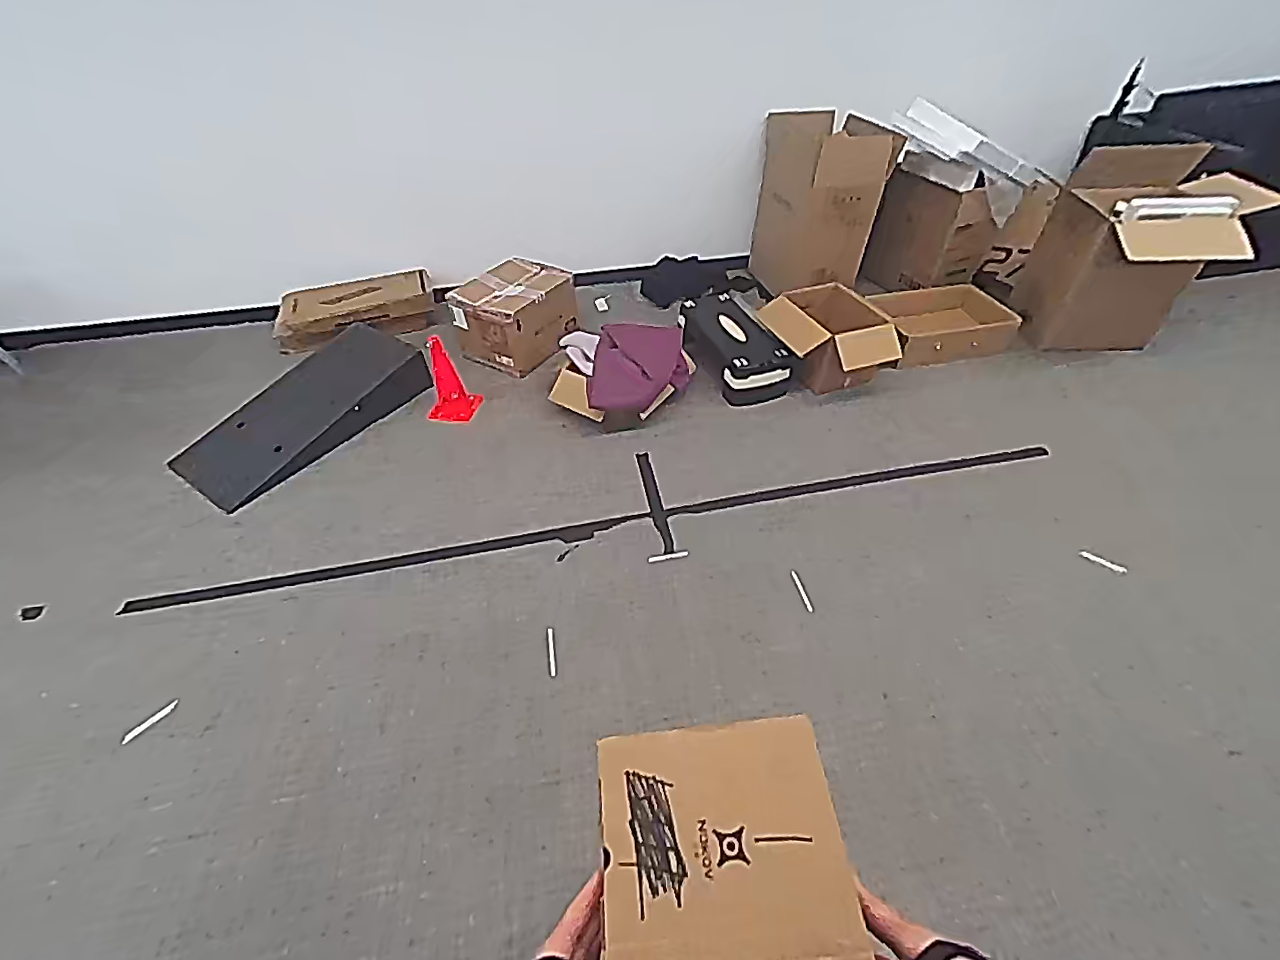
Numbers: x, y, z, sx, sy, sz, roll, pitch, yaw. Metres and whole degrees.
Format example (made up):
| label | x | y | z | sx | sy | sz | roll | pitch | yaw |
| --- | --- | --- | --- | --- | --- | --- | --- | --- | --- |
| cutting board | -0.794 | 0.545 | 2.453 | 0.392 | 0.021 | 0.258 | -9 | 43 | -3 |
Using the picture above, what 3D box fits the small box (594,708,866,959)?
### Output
| label | x | y | z | sx | sy | sz | roll | pitch | yaw |
| --- | --- | --- | --- | --- | --- | --- | --- | --- | --- |
| small box | 0.064 | 0.312 | 0.455 | 0.179 | 0.176 | 0.168 | -8 | 49 | 2 |
